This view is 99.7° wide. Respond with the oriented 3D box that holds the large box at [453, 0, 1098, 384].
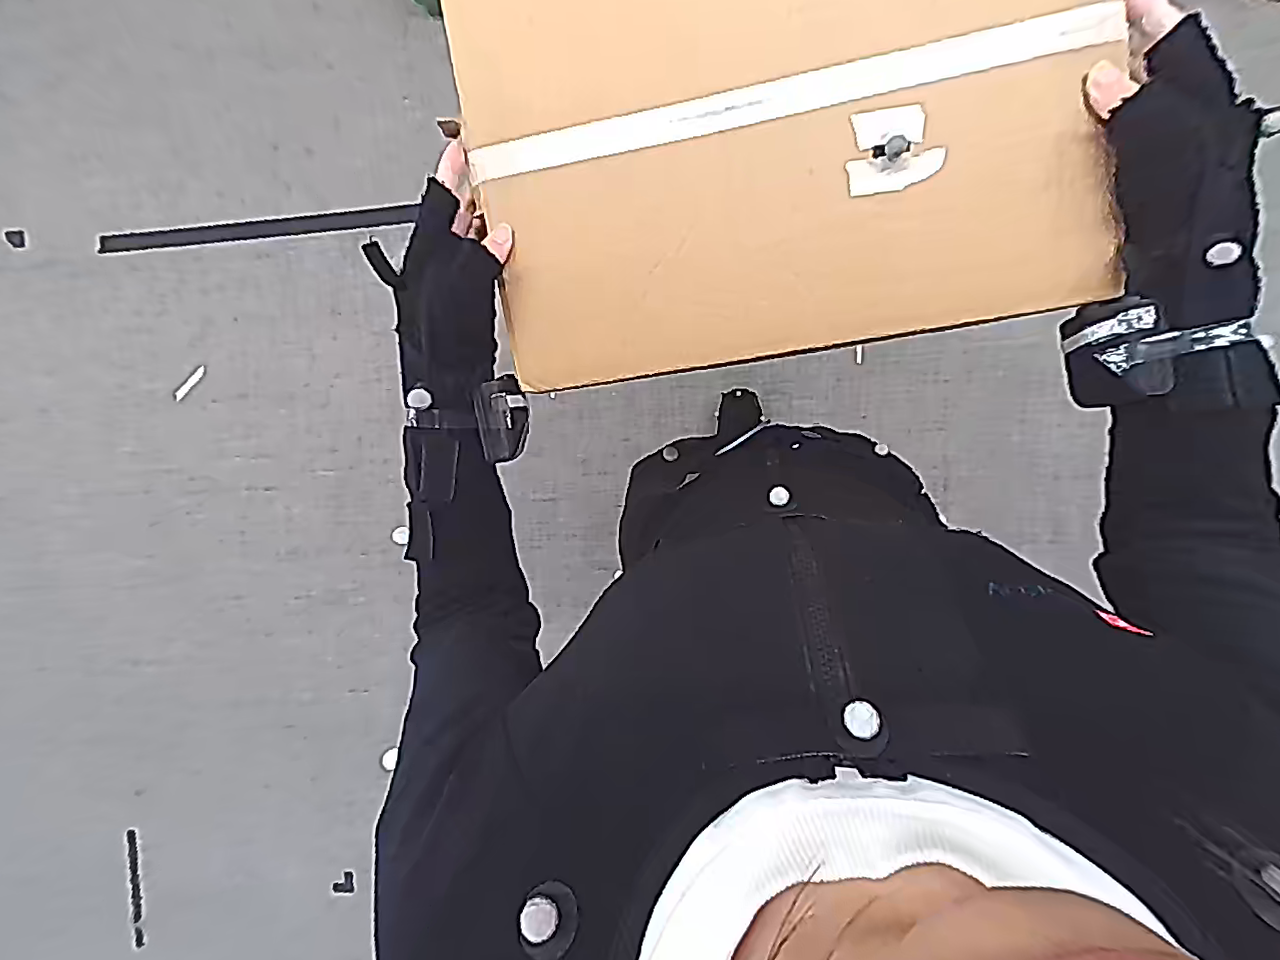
[{"bbox_3d":[0.098,-0.279,0.504,0.408,0.320,0.320,-9,101,6],"label":"large box"}]
